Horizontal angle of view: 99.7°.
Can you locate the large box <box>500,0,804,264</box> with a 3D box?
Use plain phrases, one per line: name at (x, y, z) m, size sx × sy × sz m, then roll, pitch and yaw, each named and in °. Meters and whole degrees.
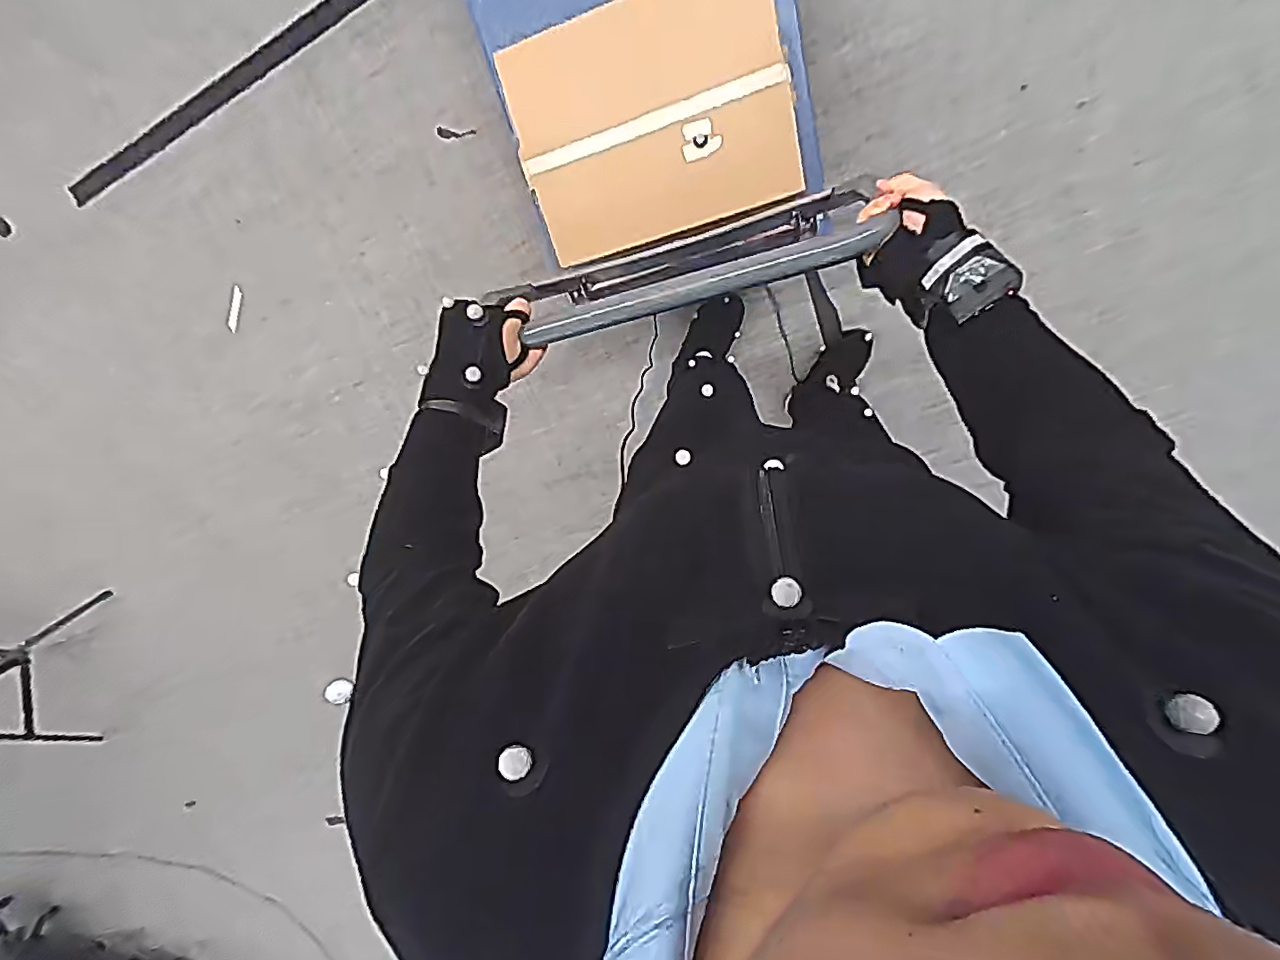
large box at (0.036, -0.599, 0.949) m, size 0.408 × 0.320 × 0.320 m, roll -13°, pitch 111°, yaw 13°
